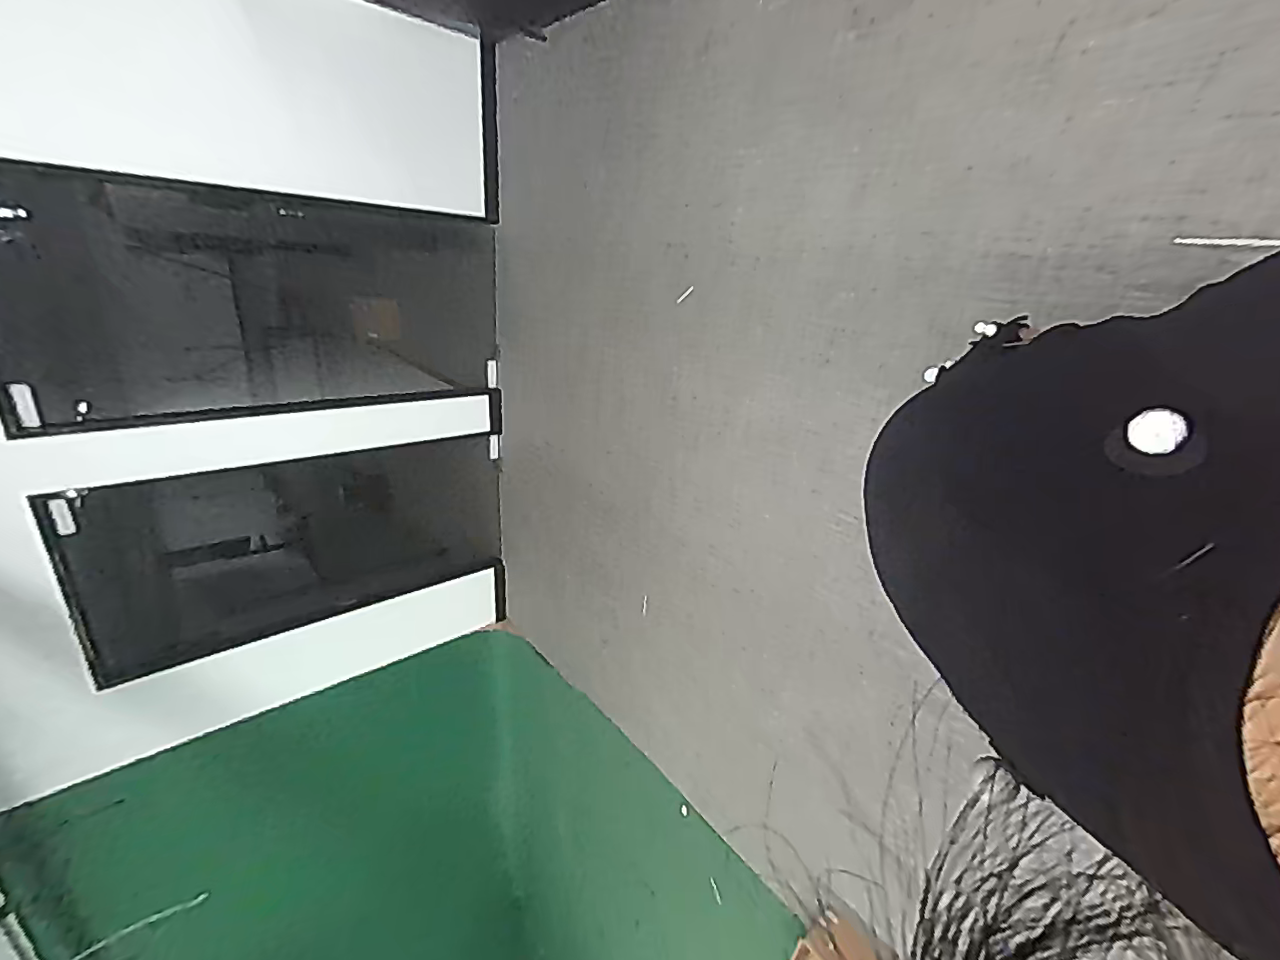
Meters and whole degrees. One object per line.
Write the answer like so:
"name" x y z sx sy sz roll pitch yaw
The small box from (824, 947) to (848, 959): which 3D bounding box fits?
"small box" 0.697 1.839 1.927 0.168 0.176 0.179 36 125 37
